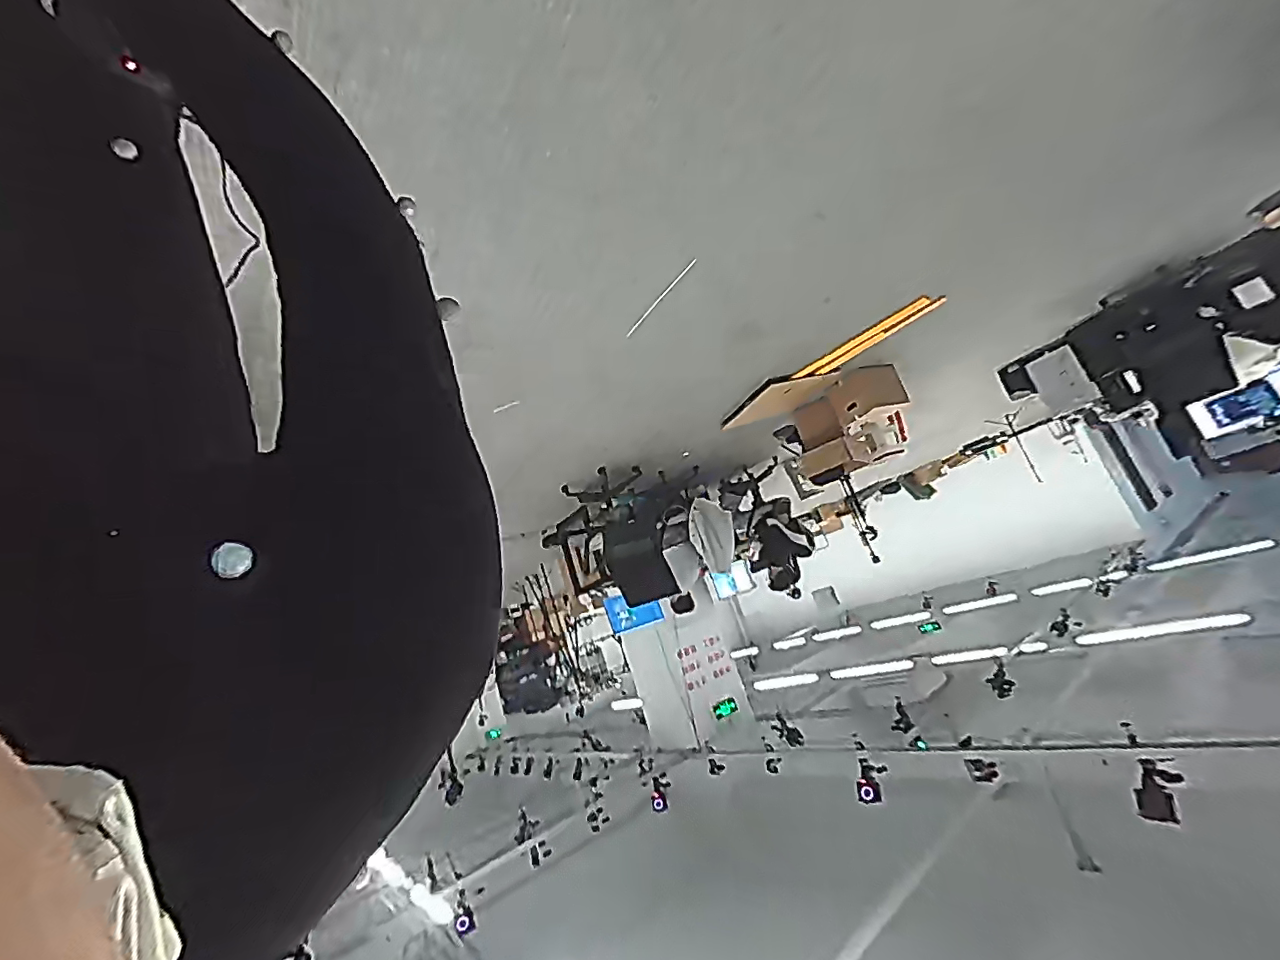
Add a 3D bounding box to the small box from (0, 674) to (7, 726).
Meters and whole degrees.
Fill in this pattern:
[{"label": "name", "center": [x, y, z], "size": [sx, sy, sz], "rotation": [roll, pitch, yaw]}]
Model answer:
[{"label": "small box", "center": [-1.621, 0.511, 1.246], "size": [0.179, 0.176, 0.168], "rotation": [-8, 163, -40]}]
